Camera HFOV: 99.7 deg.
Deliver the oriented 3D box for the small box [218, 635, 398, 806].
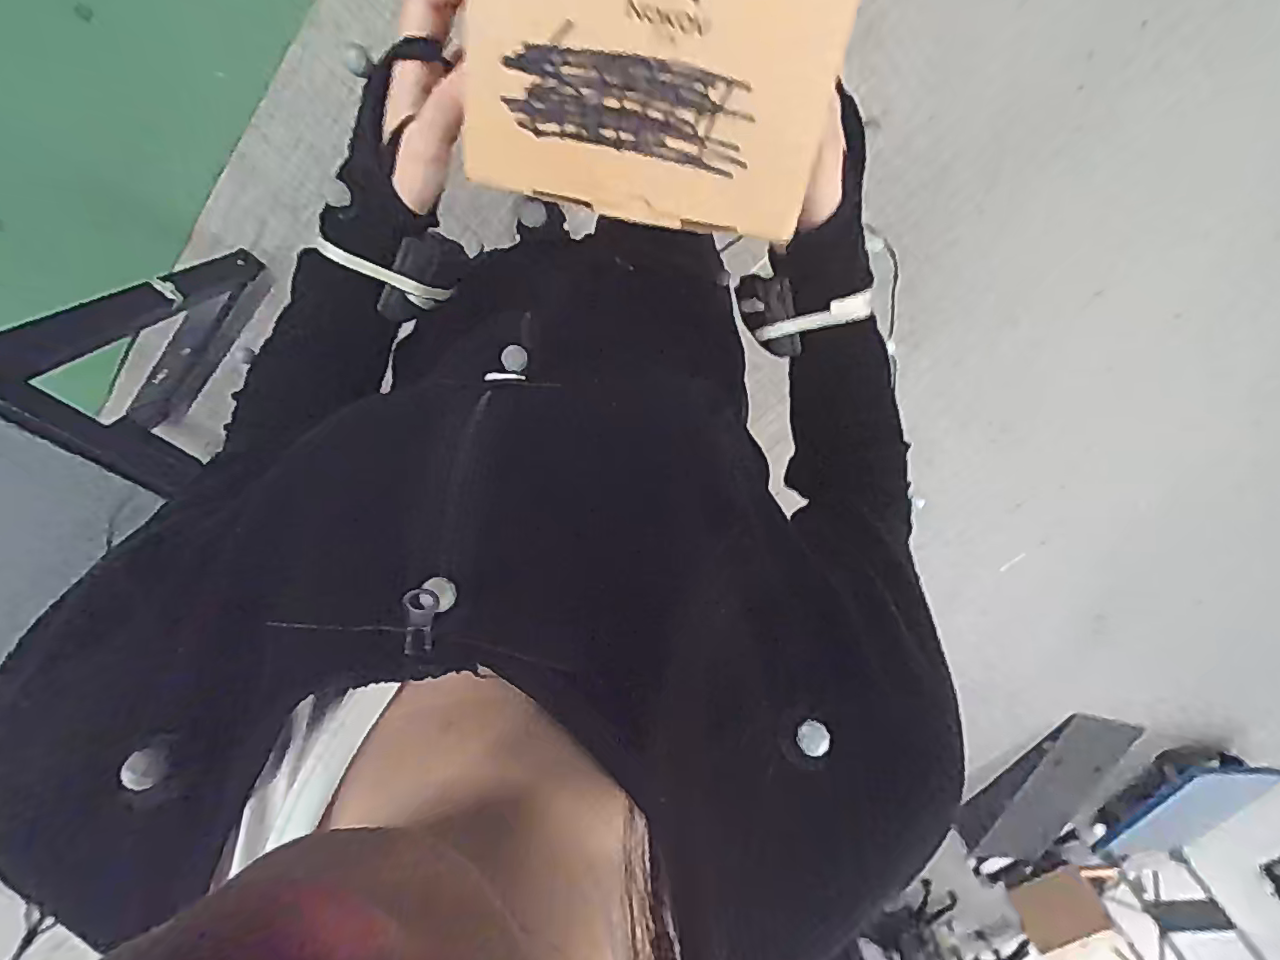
[{"bbox_3d":[-0.530,0.392,0.890,0.168,0.176,0.179,37,112,-26],"label":"small box"}]
